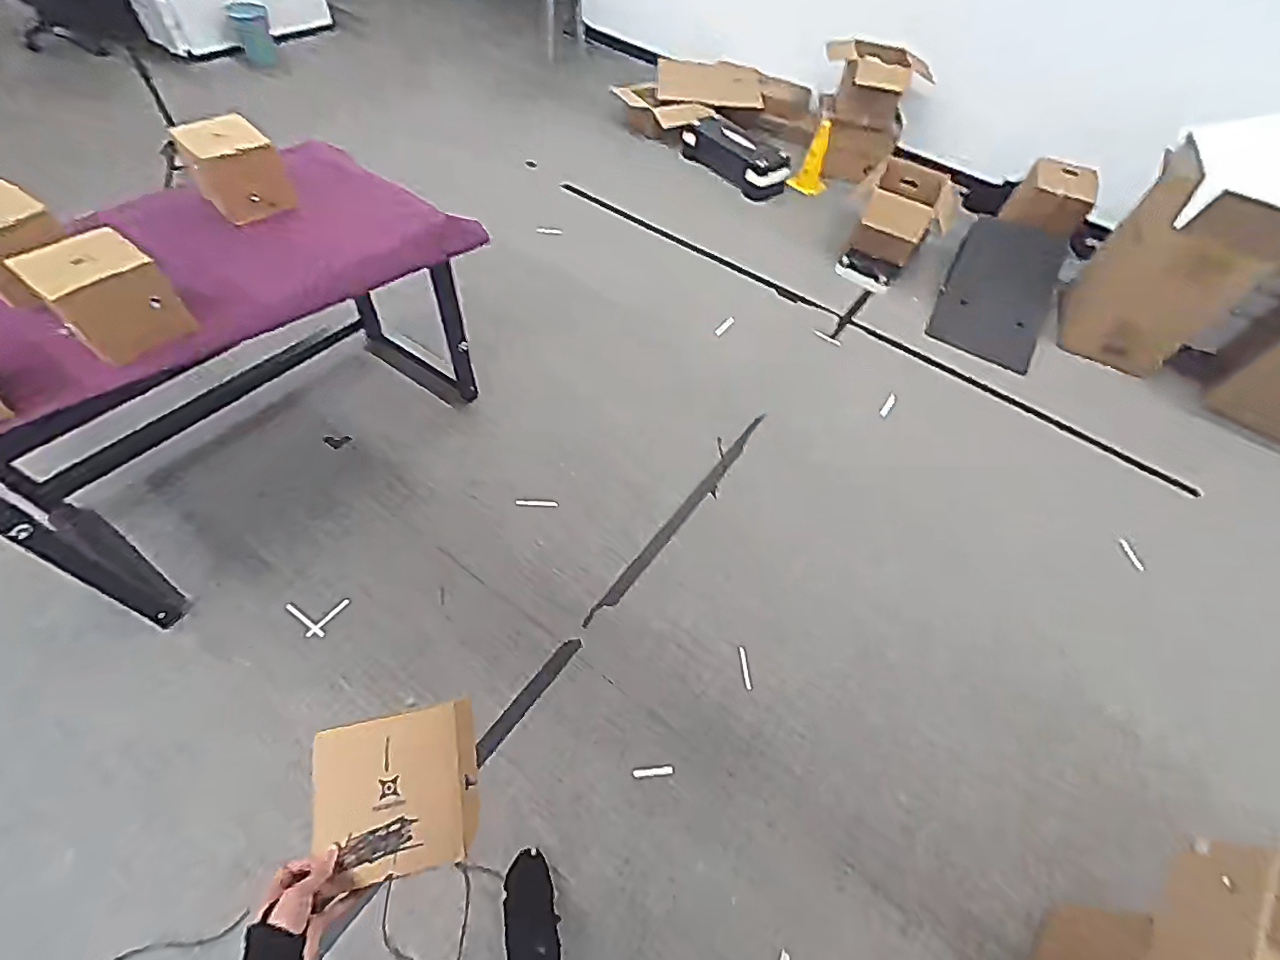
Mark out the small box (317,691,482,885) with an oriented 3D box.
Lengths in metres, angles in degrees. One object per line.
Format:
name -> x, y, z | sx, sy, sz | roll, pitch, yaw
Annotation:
small box -> -0.310, 0.391, 0.722 | 0.168, 0.176, 0.179 | -7, 72, -13

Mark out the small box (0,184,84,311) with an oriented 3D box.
small box -> -1.313, -0.493, 1.158 | 0.179, 0.176, 0.168 | 31, 57, 14

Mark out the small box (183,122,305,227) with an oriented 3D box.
small box -> -1.025, -0.795, 1.412 | 0.179, 0.176, 0.168 | 40, 60, 18

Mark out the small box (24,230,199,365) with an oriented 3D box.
small box -> -1.053, -0.369, 1.101 | 0.168, 0.176, 0.179 | 34, 57, 17
